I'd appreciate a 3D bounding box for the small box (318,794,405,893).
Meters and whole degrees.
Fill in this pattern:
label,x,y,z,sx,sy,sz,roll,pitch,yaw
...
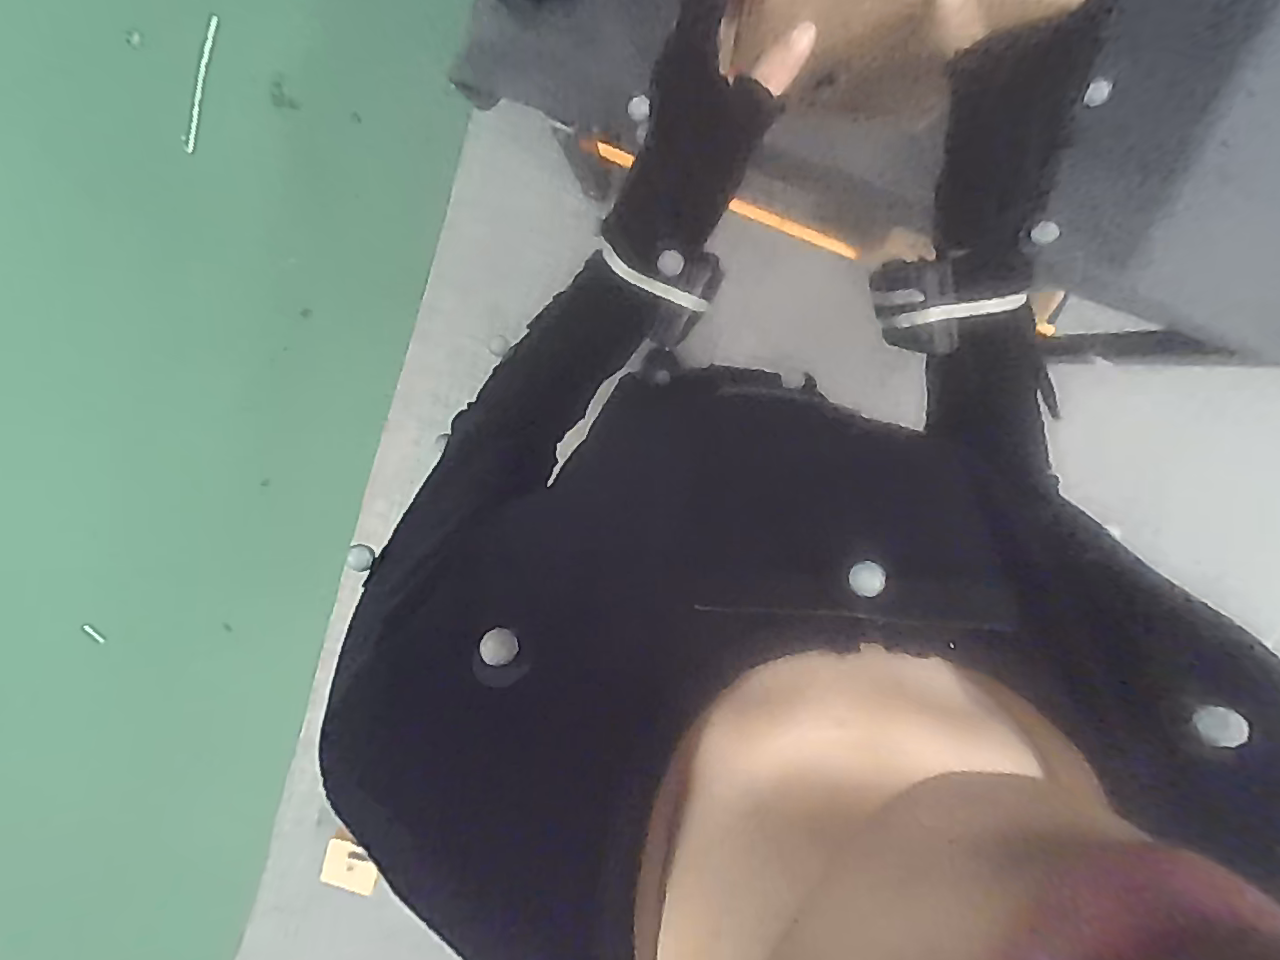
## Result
label,x,y,z,sx,sy,sz,roll,pitch,yaw
small box,-0.870,1.138,1.705,0.168,0.176,0.179,20,103,-1
